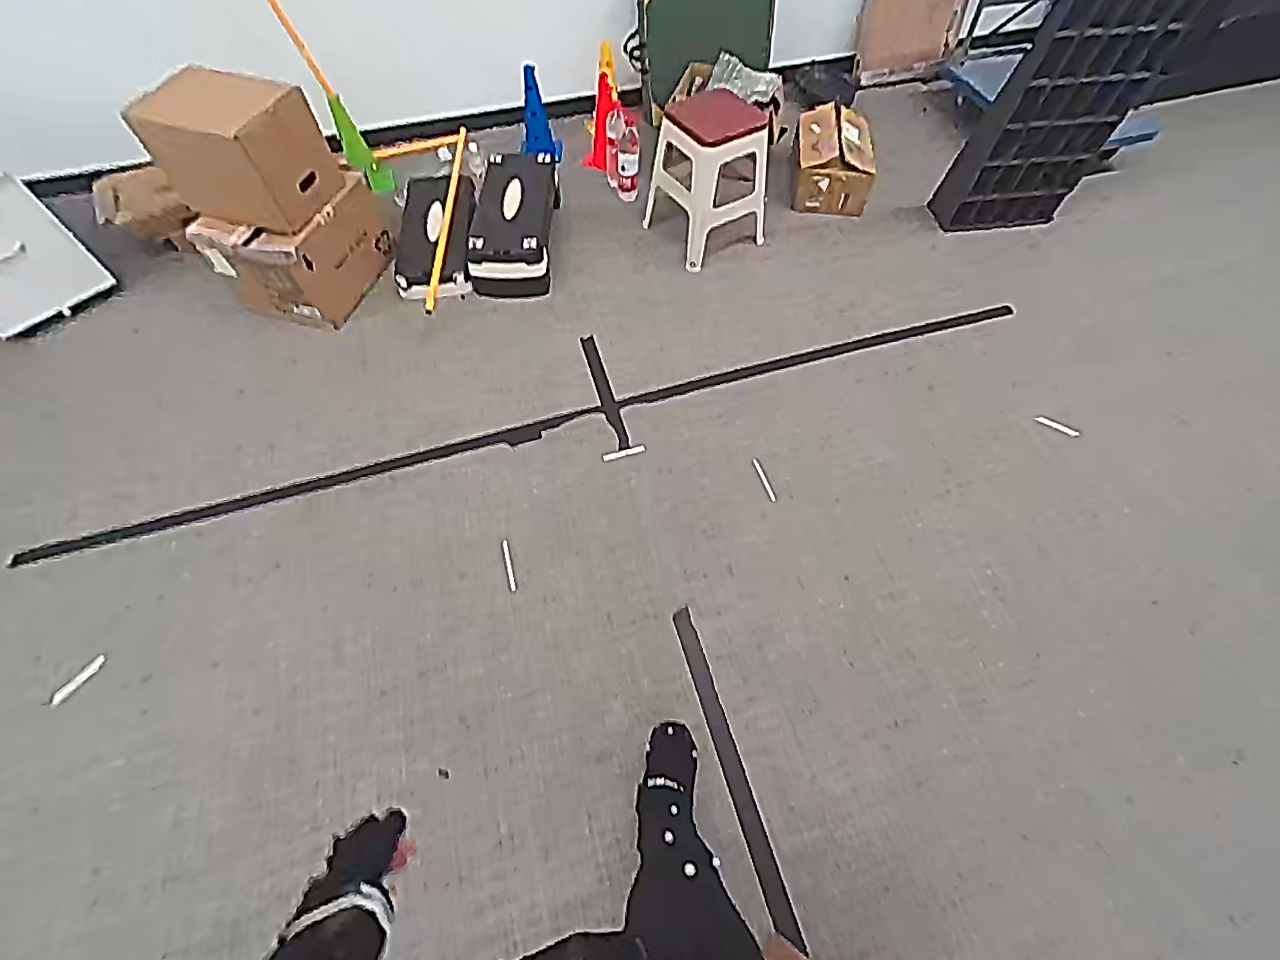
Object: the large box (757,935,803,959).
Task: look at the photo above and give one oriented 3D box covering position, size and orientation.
[{"bbox_3d":[0.341,1.059,0.867,0.408,0.320,0.320,31,63,18],"label":"large box"}]
